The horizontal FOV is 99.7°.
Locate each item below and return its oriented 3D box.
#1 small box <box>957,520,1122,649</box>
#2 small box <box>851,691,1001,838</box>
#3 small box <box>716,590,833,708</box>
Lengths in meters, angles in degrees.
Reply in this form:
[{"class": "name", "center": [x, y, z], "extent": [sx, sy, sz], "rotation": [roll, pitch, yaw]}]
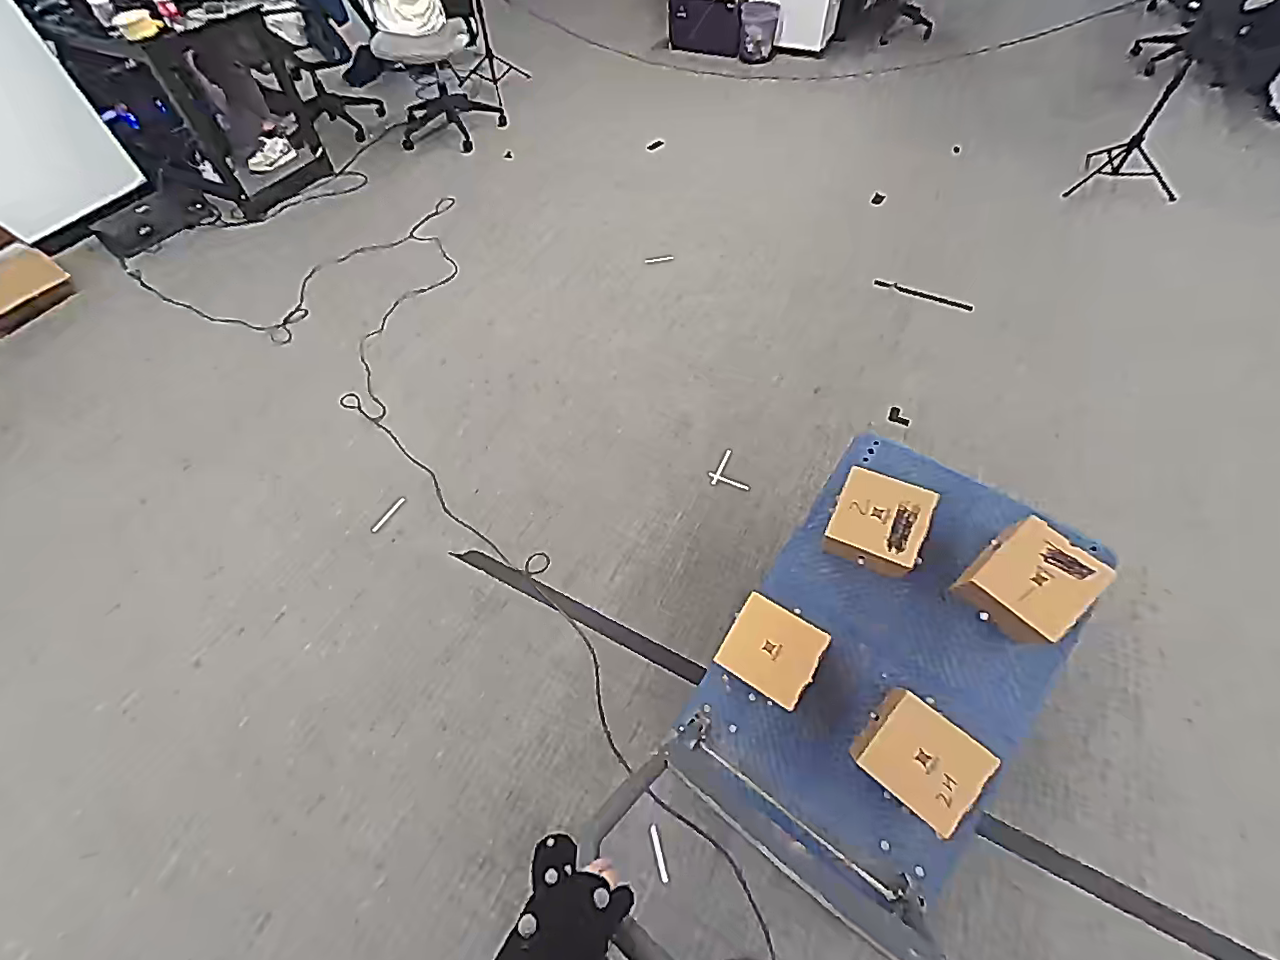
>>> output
[{"class": "small box", "center": [0.764, 0.209, 1.060], "extent": [0.179, 0.176, 0.168], "rotation": [-45, 67, -1]}, {"class": "small box", "center": [0.524, 0.523, 1.023], "extent": [0.179, 0.176, 0.168], "rotation": [38, 86, 23]}, {"class": "small box", "center": [0.283, 0.358, 1.146], "extent": [0.179, 0.176, 0.168], "rotation": [30, 82, 21]}]
